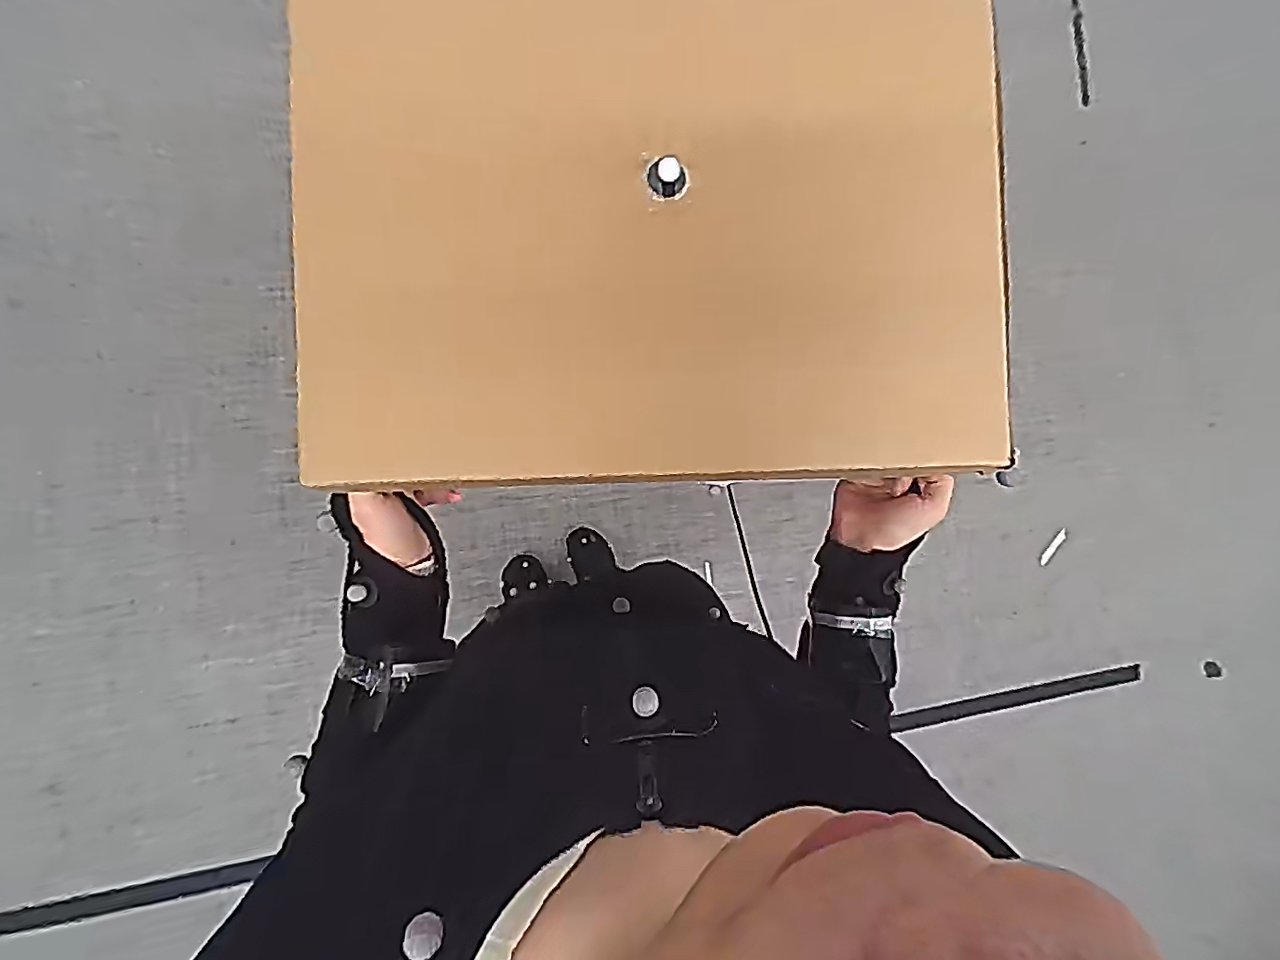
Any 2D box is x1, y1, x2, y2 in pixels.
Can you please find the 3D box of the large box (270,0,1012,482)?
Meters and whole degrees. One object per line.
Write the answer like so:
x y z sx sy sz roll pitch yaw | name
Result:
-0.004 -0.164 0.443 0.408 0.320 0.320 -3 91 -4 | large box
